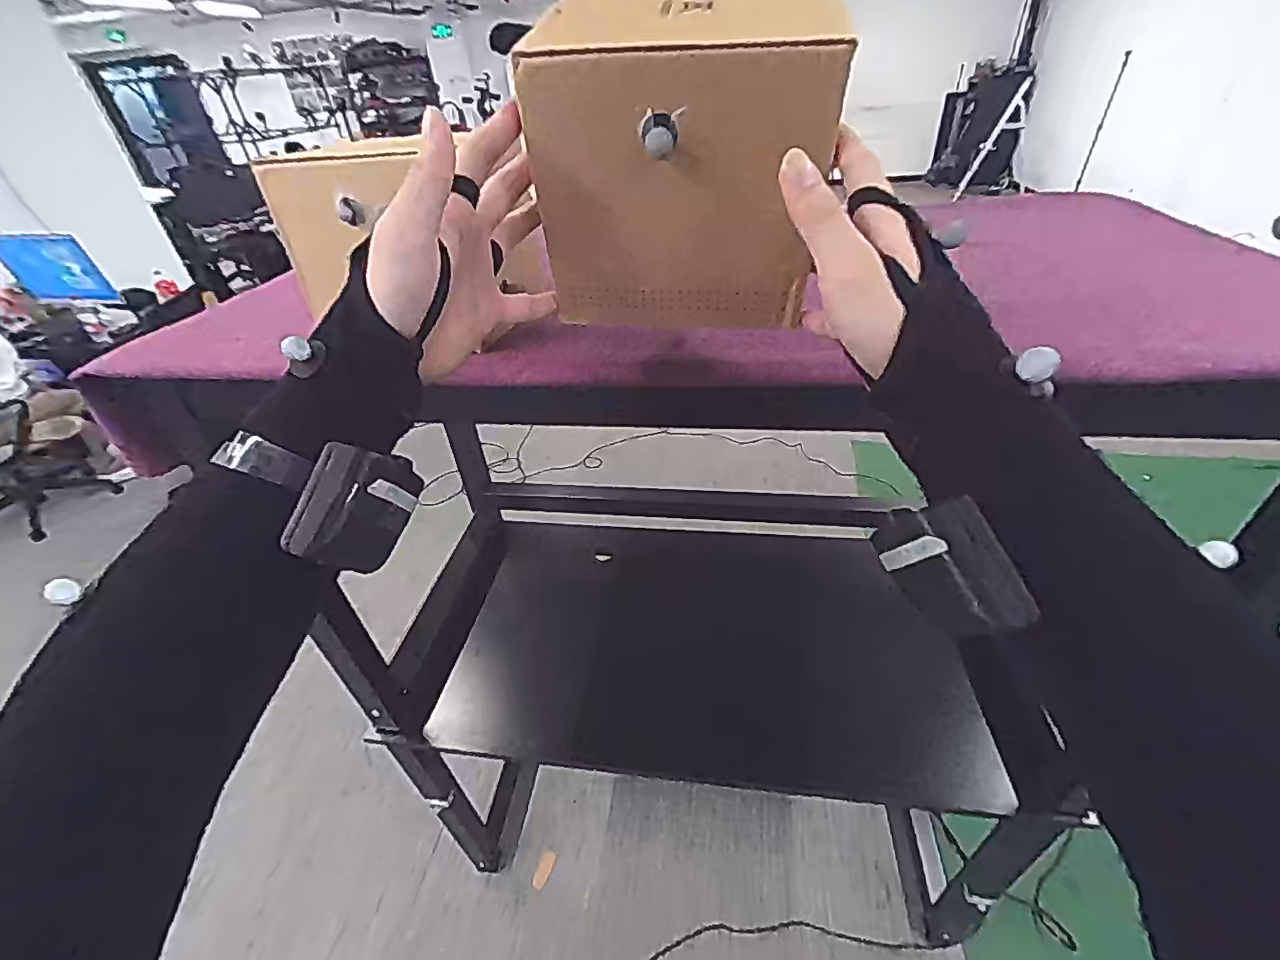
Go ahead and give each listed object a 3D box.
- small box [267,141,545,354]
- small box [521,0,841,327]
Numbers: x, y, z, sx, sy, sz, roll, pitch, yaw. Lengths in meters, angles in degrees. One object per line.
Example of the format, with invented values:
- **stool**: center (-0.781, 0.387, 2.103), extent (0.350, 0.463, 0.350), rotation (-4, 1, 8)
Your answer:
- **small box**: center (-0.215, -0.237, 0.550), extent (0.179, 0.176, 0.168), rotation (6, 37, 12)
- **small box**: center (0.036, -0.229, 0.400), extent (0.179, 0.176, 0.168), rotation (3, 51, 9)
